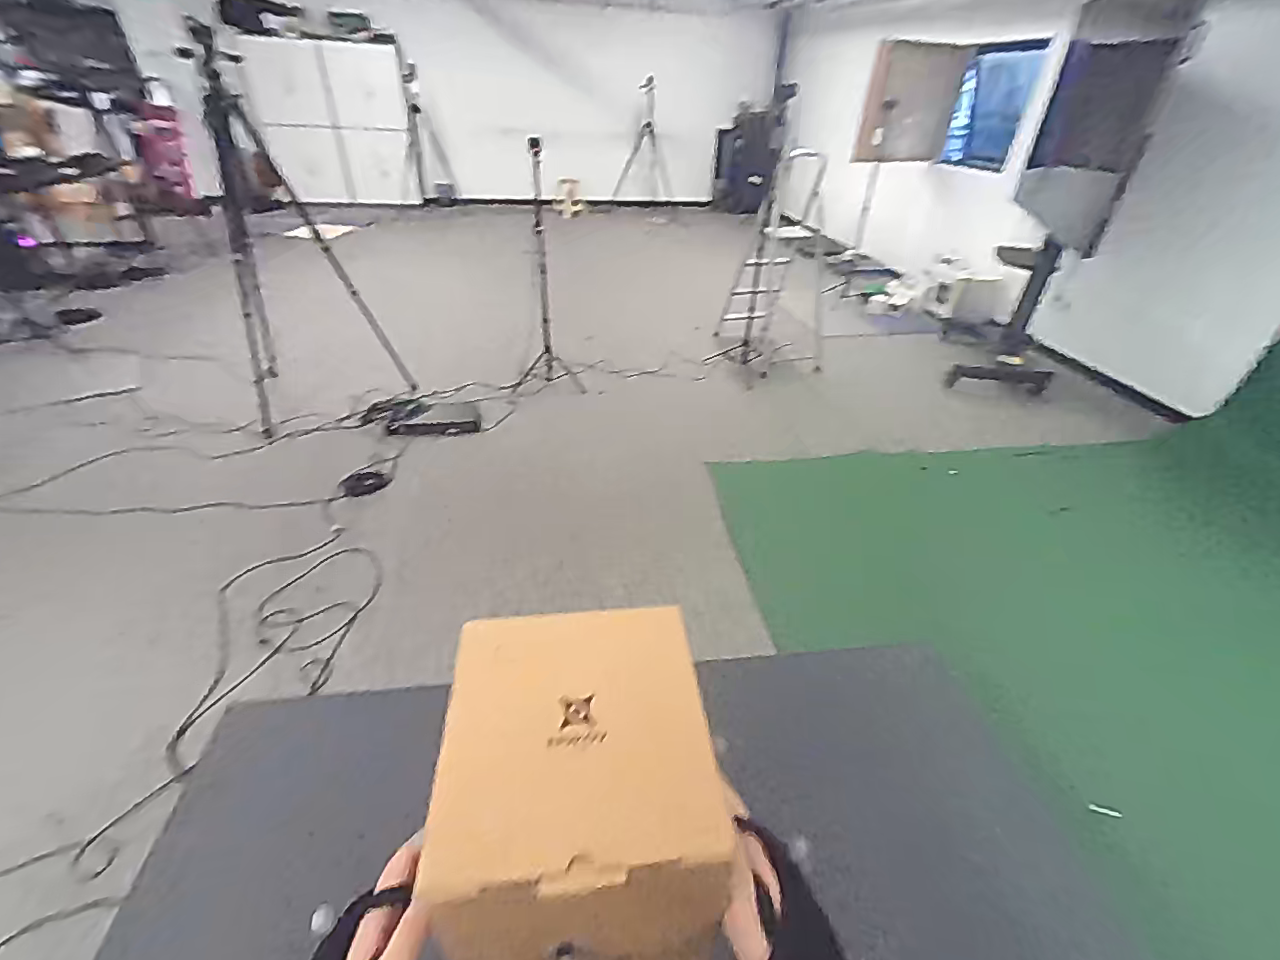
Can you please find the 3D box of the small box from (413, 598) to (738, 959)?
[{"bbox_3d":[-0.043,0.208,0.381,0.168,0.176,0.179,-3,34,-7],"label":"small box"}]
